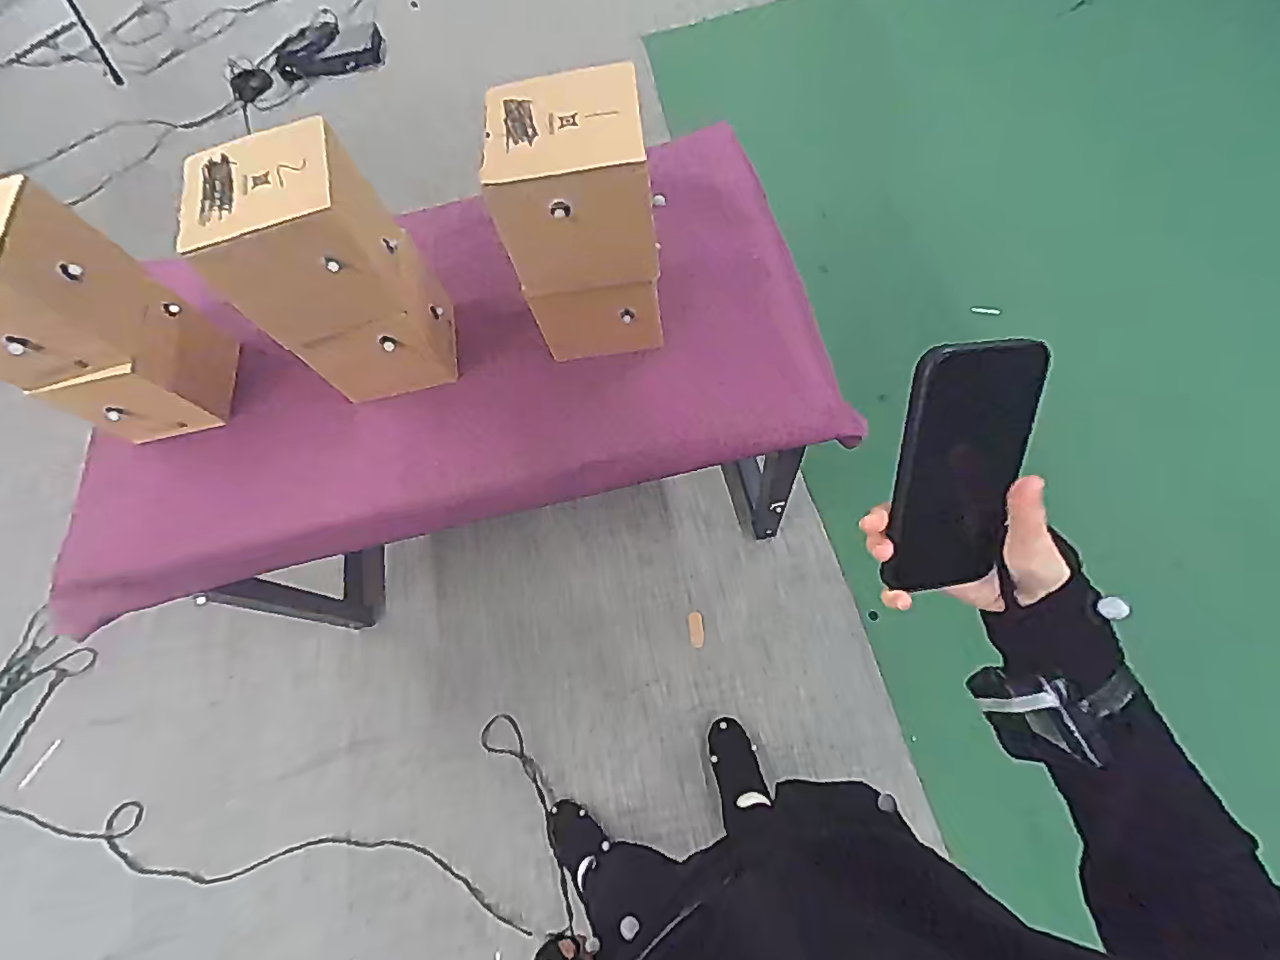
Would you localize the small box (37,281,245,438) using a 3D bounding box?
[{"bbox_3d":[-0.782,-0.181,0.871,0.168,0.176,0.179,-11,66,3],"label":"small box"}]

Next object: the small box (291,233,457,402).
[{"bbox_3d":[-0.397,-0.243,0.840,0.179,0.176,0.168,-12,66,3],"label":"small box"}]

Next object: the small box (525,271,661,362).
[{"bbox_3d":[-0.061,-0.300,0.817,0.179,0.176,0.168,-6,66,6],"label":"small box"}]

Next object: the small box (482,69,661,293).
[{"bbox_3d":[-0.073,-0.351,0.661,0.179,0.176,0.168,-6,66,5],"label":"small box"}]

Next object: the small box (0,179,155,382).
[{"bbox_3d":[-0.805,-0.252,0.724,0.168,0.176,0.179,-16,67,1],"label":"small box"}]
